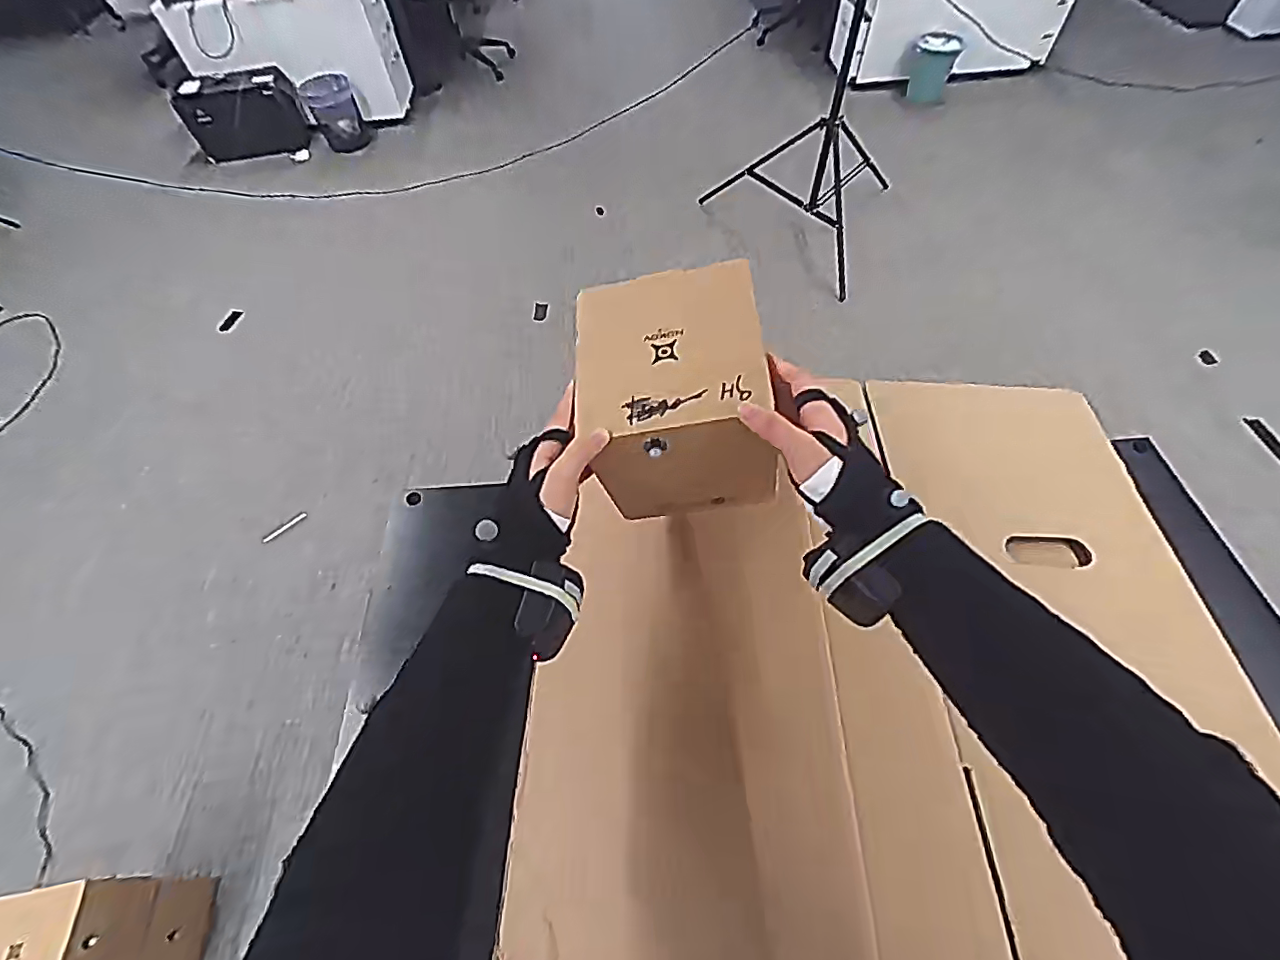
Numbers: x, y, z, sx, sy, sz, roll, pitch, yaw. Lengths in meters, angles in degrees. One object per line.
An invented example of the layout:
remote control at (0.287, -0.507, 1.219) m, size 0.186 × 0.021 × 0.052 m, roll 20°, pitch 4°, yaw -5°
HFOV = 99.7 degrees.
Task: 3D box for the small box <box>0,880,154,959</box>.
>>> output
small box at (-1.008, 0.820, 0.938) m, size 0.168 × 0.176 × 0.179 m, roll -10°, pitch 55°, yaw -5°

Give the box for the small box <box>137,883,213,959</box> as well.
small box at (-1.000, 0.915, 1.070) m, size 0.168 × 0.176 × 0.179 m, roll -7°, pitch 57°, yaw -2°

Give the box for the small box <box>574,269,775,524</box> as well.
small box at (0.041, -0.074, 0.545) m, size 0.168 × 0.176 × 0.179 m, roll -9°, pitch 60°, yaw 11°
